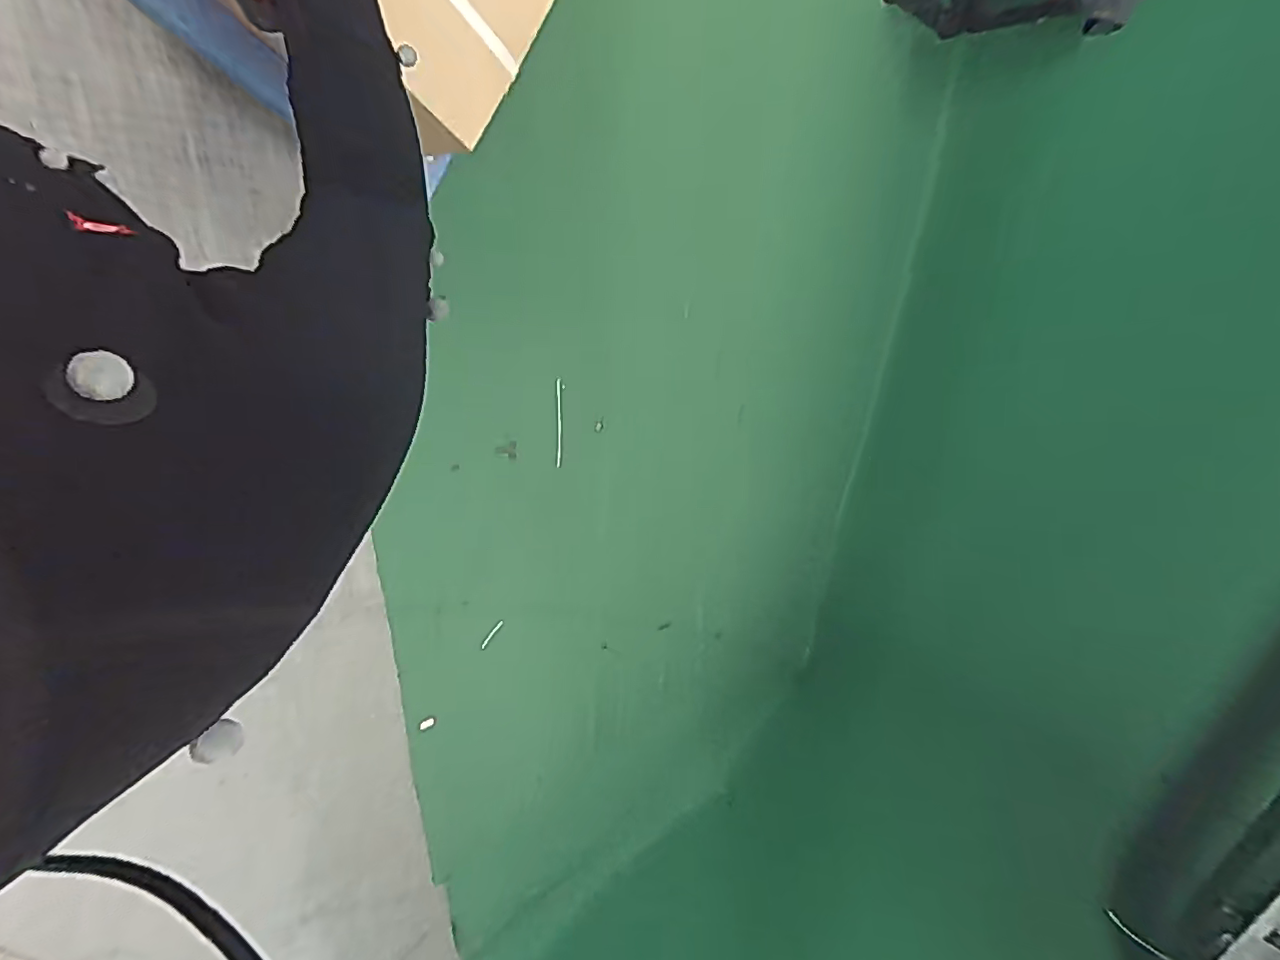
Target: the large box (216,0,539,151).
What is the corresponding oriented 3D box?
[{"bbox_3d":[-0.445,-0.811,0.862,0.408,0.320,0.320,31,87,-49],"label":"large box"}]
